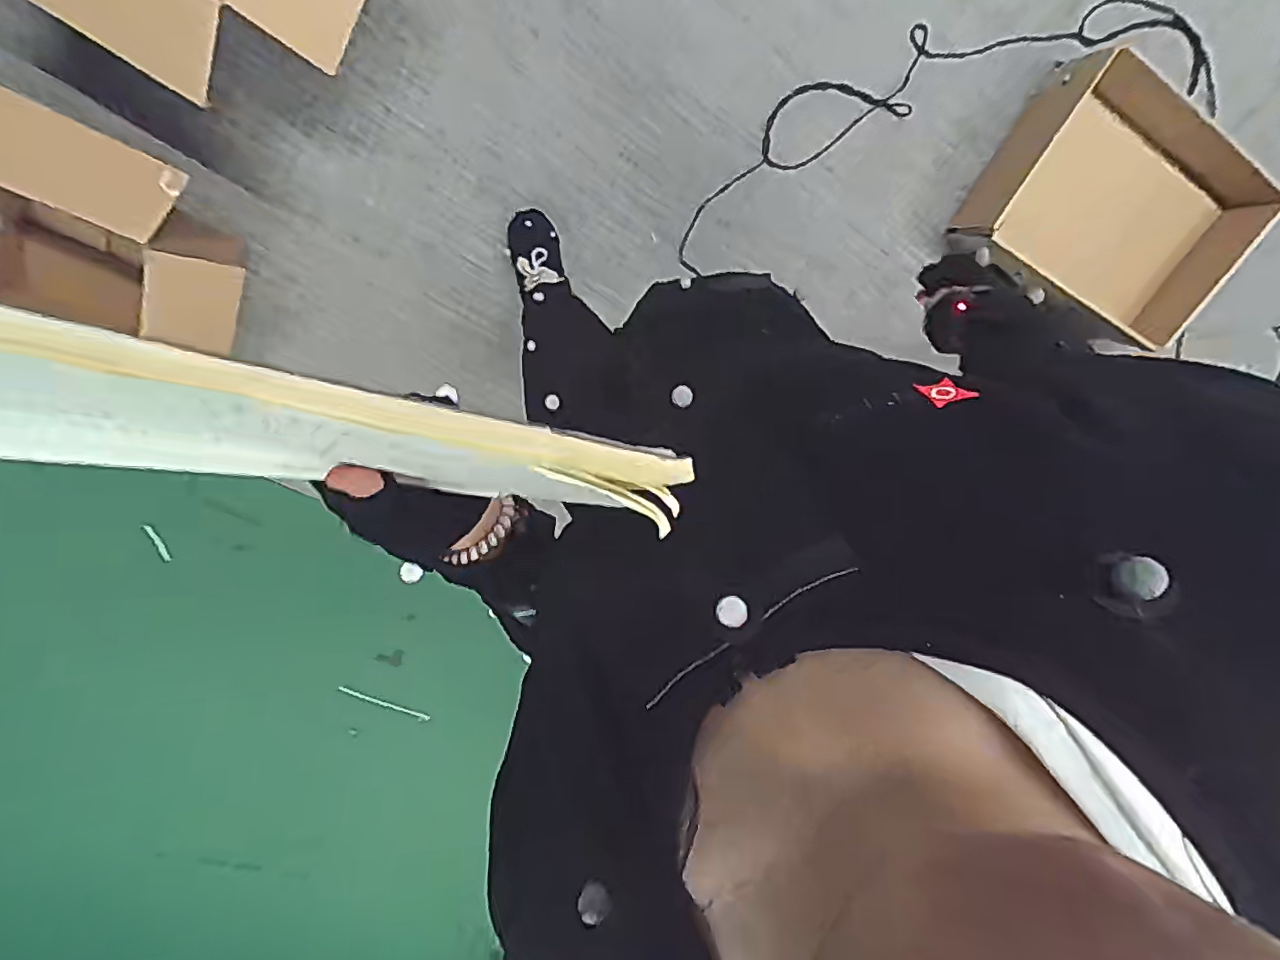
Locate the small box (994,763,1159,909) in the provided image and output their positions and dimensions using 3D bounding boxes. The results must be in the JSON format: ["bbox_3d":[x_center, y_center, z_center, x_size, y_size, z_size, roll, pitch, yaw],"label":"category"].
[{"bbox_3d":[0.879,0.730,1.115,0.168,0.176,0.179,28,109,-17],"label":"small box"}]
